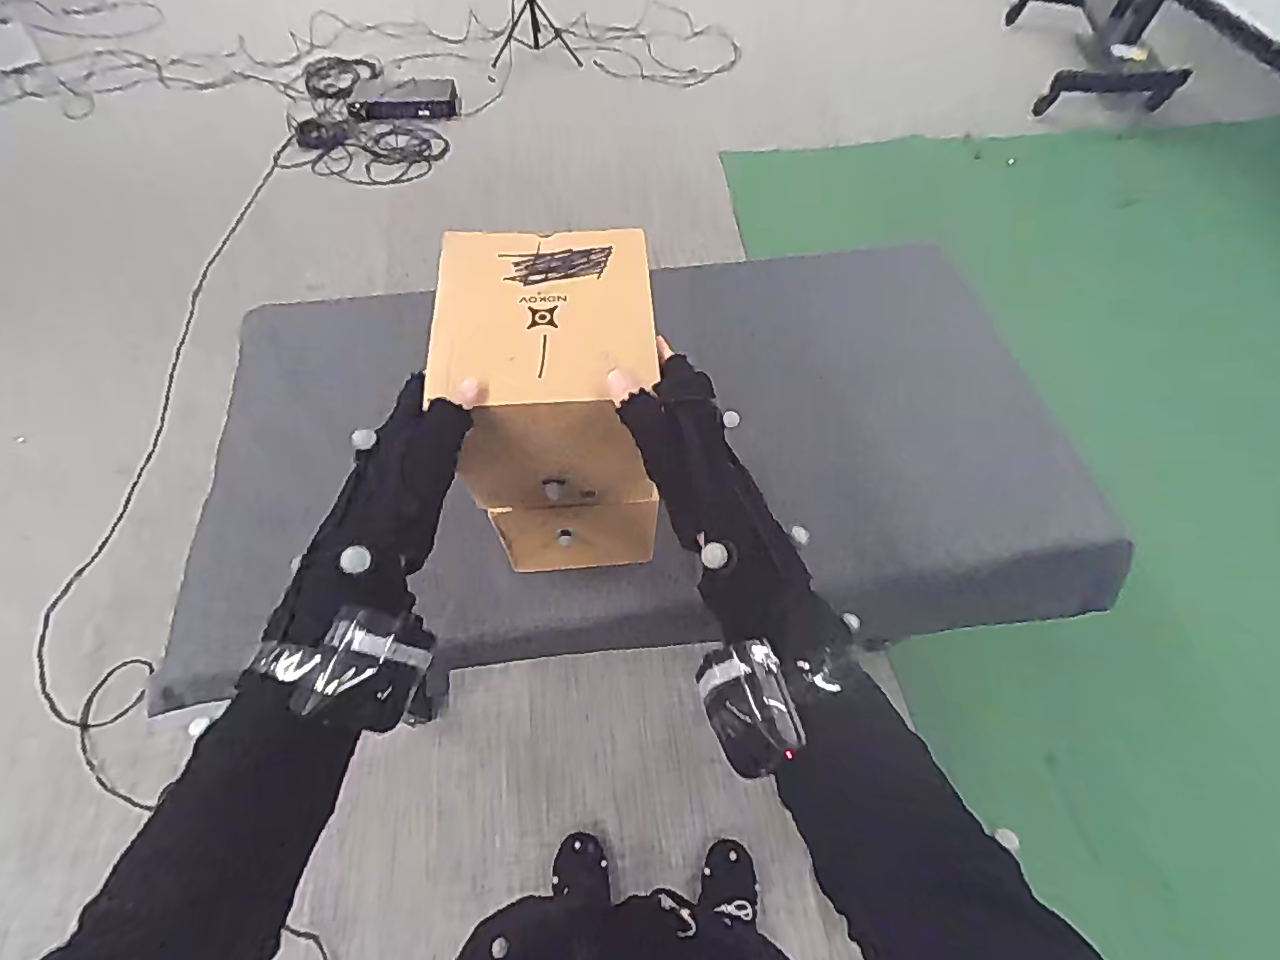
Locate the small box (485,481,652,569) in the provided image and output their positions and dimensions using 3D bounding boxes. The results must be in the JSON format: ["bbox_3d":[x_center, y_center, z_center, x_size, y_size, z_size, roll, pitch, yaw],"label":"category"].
[{"bbox_3d":[-0.079,0.002,0.662,0.179,0.176,0.168,-3,60,-4],"label":"small box"}]

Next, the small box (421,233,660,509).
[{"bbox_3d":[-0.073,-0.088,0.477,0.168,0.176,0.179,-2,63,-3],"label":"small box"}]
